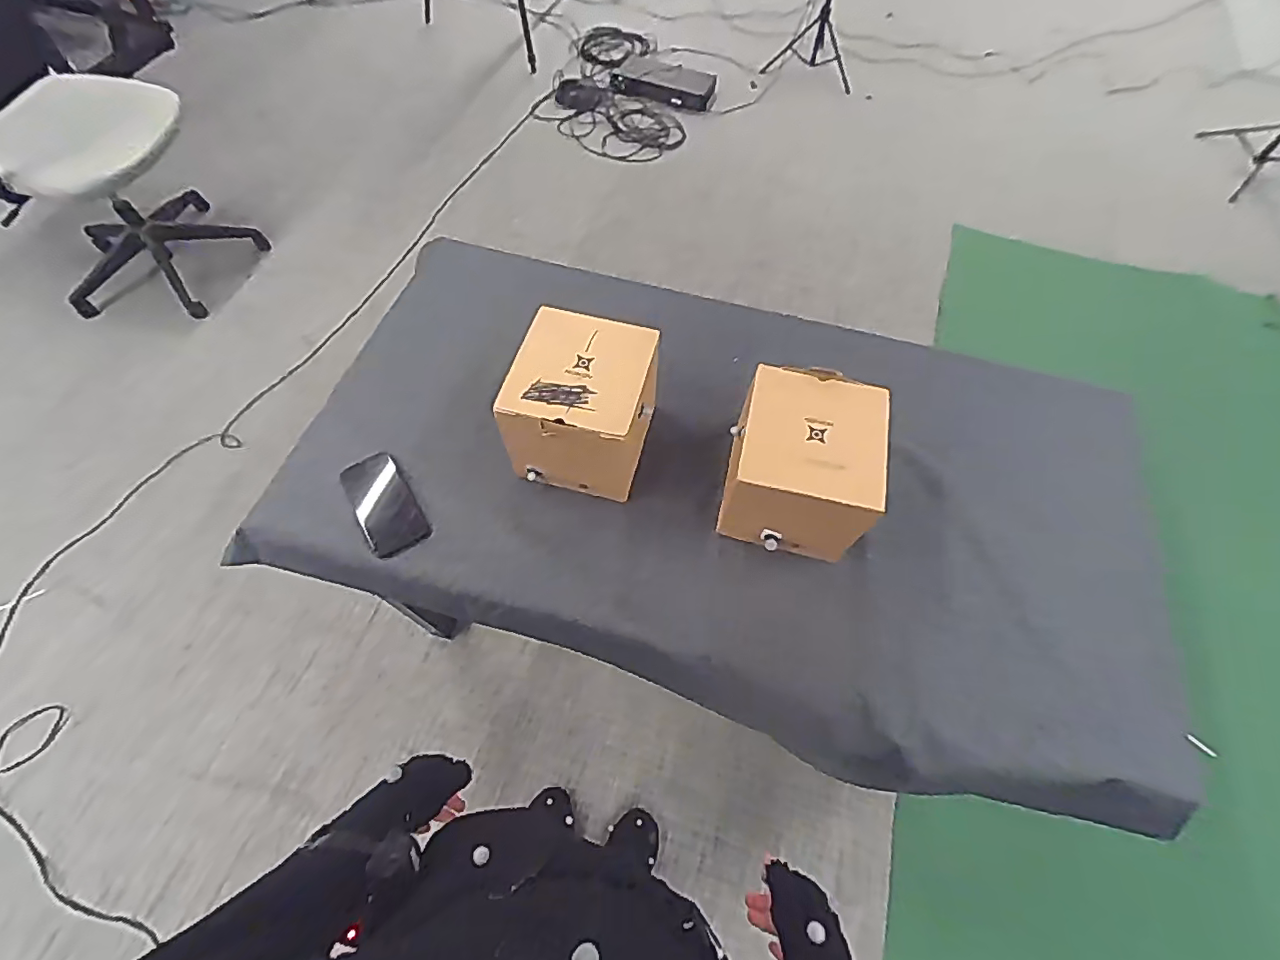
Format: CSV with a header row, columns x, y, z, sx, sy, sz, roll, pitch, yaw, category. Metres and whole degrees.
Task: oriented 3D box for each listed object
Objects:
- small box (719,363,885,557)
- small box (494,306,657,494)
x,y,z,sx,sy,sz,roll,pitch,yaw,category
0.205,-0.021,0.713,0.168,0.176,0.179,12,63,6,small box
-0.077,-0.103,0.743,0.168,0.176,0.179,13,61,5,small box
